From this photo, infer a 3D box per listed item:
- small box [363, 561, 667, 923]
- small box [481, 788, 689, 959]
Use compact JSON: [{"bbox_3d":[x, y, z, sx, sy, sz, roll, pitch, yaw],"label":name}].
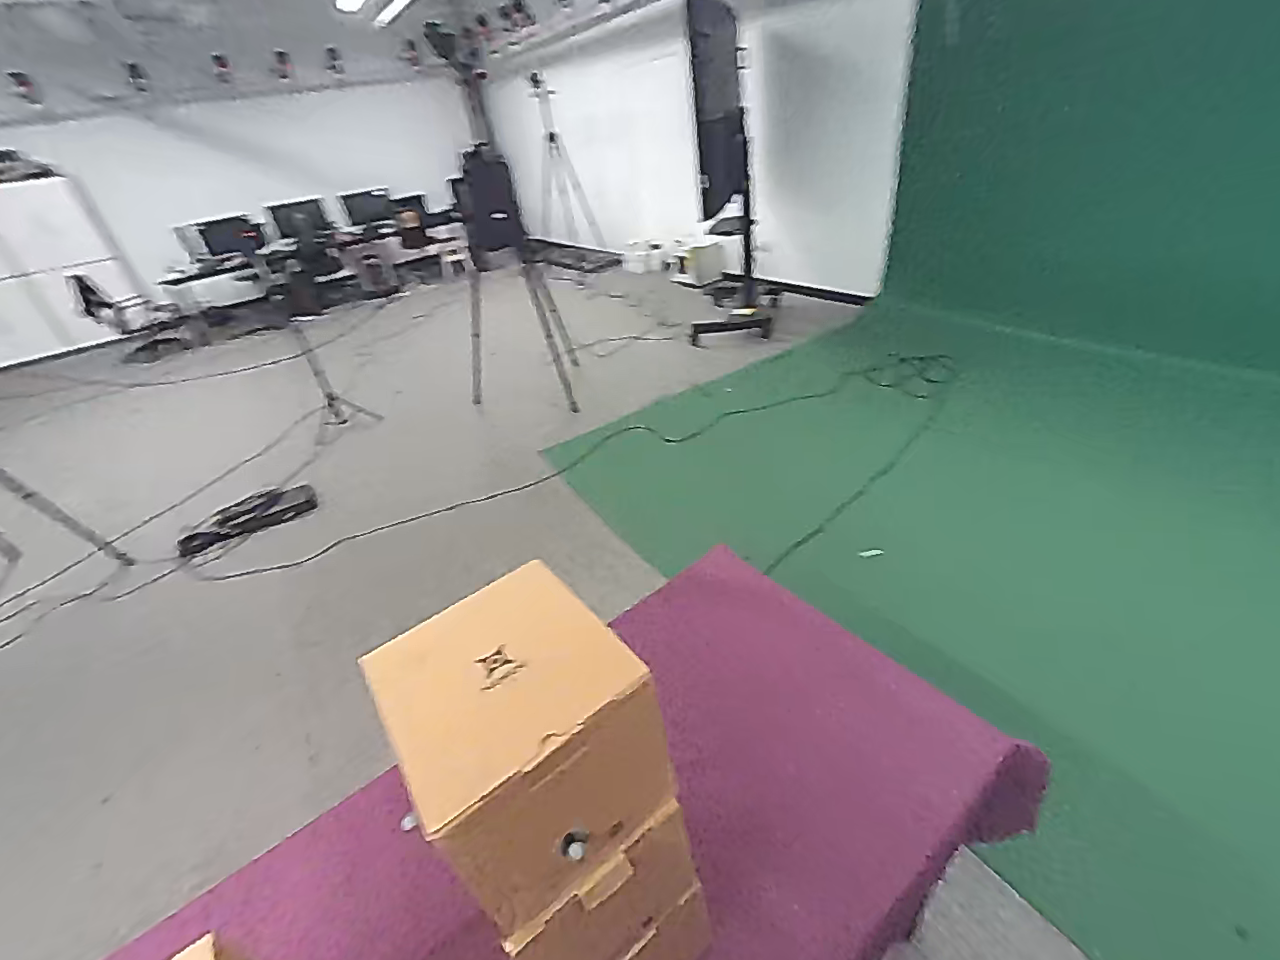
[{"bbox_3d":[-0.097,0.206,0.451,0.168,0.176,0.179,-29,38,-27],"label":"small box"},{"bbox_3d":[-0.069,0.345,0.532,0.168,0.176,0.179,-29,37,-27],"label":"small box"}]
